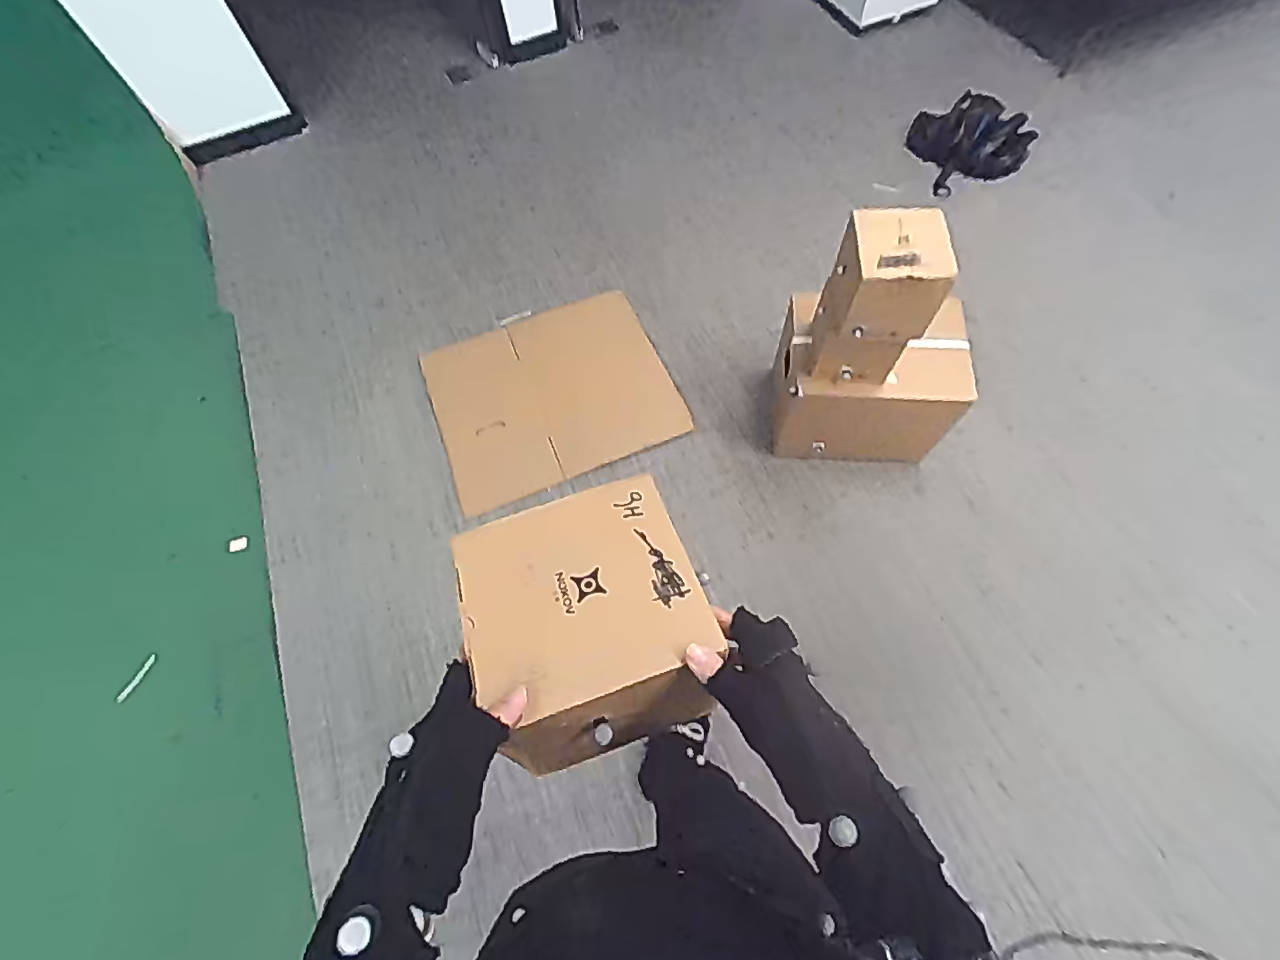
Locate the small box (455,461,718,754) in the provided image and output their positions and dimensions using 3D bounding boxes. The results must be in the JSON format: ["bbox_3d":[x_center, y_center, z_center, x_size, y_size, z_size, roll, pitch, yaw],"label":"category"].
[{"bbox_3d":[-0.041,0.118,0.486,0.179,0.176,0.168,-21,52,-10],"label":"small box"}]

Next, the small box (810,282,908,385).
[{"bbox_3d":[0.482,-0.338,1.214,0.168,0.176,0.179,5,67,7],"label":"small box"}]

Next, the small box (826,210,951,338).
[{"bbox_3d":[0.473,-0.394,1.059,0.168,0.176,0.179,-2,66,4],"label":"small box"}]
